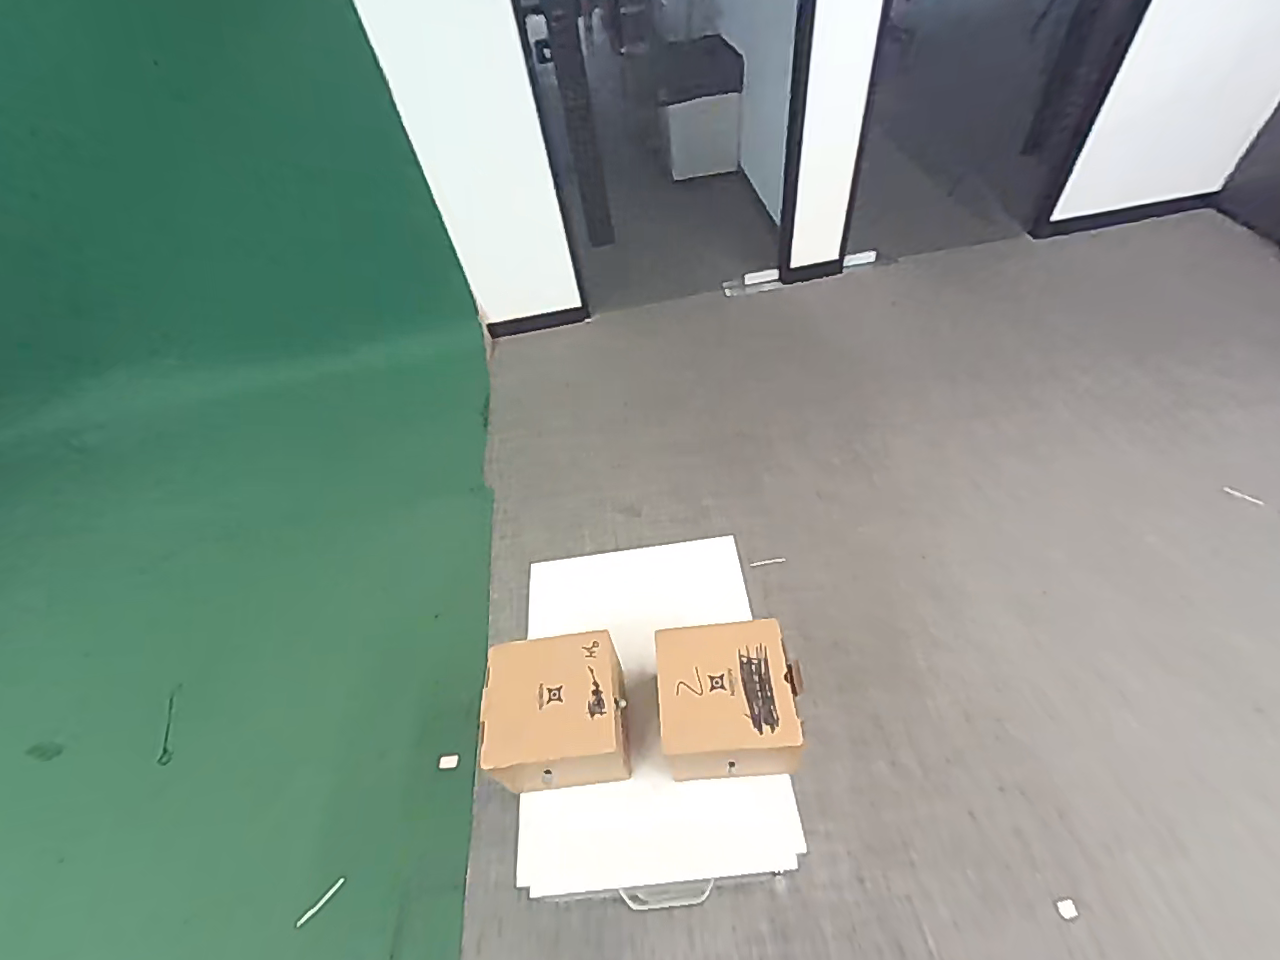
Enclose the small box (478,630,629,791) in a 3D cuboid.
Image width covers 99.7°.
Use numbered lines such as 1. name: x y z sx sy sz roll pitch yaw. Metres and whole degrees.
1. small box: -0.117 0.340 0.789 0.179 0.176 0.168 -8 50 1
